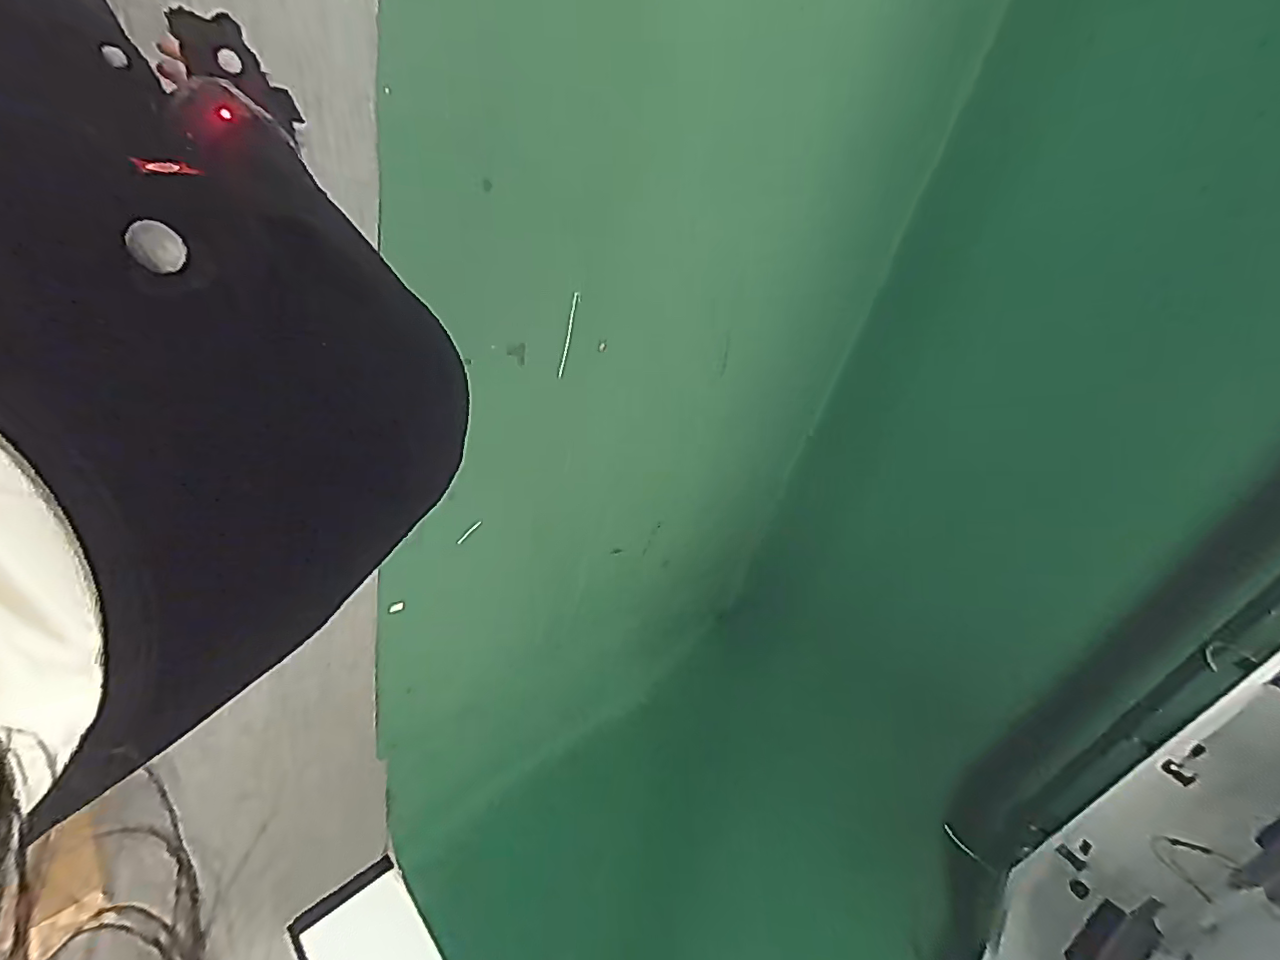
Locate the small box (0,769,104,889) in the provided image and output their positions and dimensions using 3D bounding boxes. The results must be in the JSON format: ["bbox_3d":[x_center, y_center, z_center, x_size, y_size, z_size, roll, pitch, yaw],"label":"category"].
[{"bbox_3d":[-1.595,0.929,1.453,0.179,0.176,0.168,-20,137,-44],"label":"small box"}]
